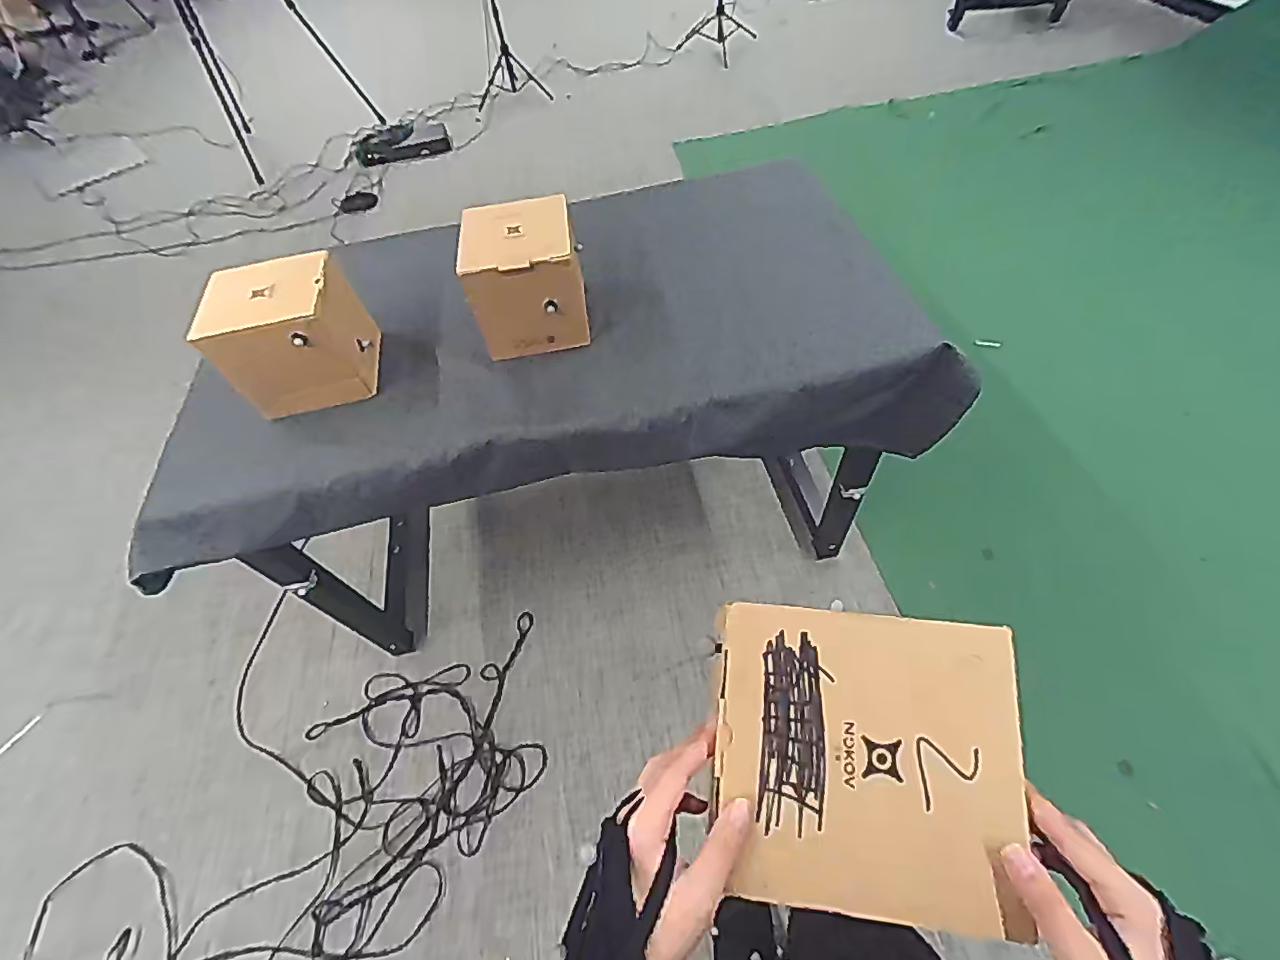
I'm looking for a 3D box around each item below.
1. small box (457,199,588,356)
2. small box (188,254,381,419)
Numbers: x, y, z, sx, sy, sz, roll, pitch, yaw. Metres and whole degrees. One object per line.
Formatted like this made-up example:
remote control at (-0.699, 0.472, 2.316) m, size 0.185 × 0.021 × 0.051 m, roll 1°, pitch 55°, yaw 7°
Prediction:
small box at (-0.180, -0.316, 0.870) m, size 0.168 × 0.176 × 0.179 m, roll -9°, pitch 54°, yaw -1°
small box at (-0.533, -0.217, 0.841) m, size 0.179 × 0.176 × 0.168 m, roll -13°, pitch 55°, yaw -4°
